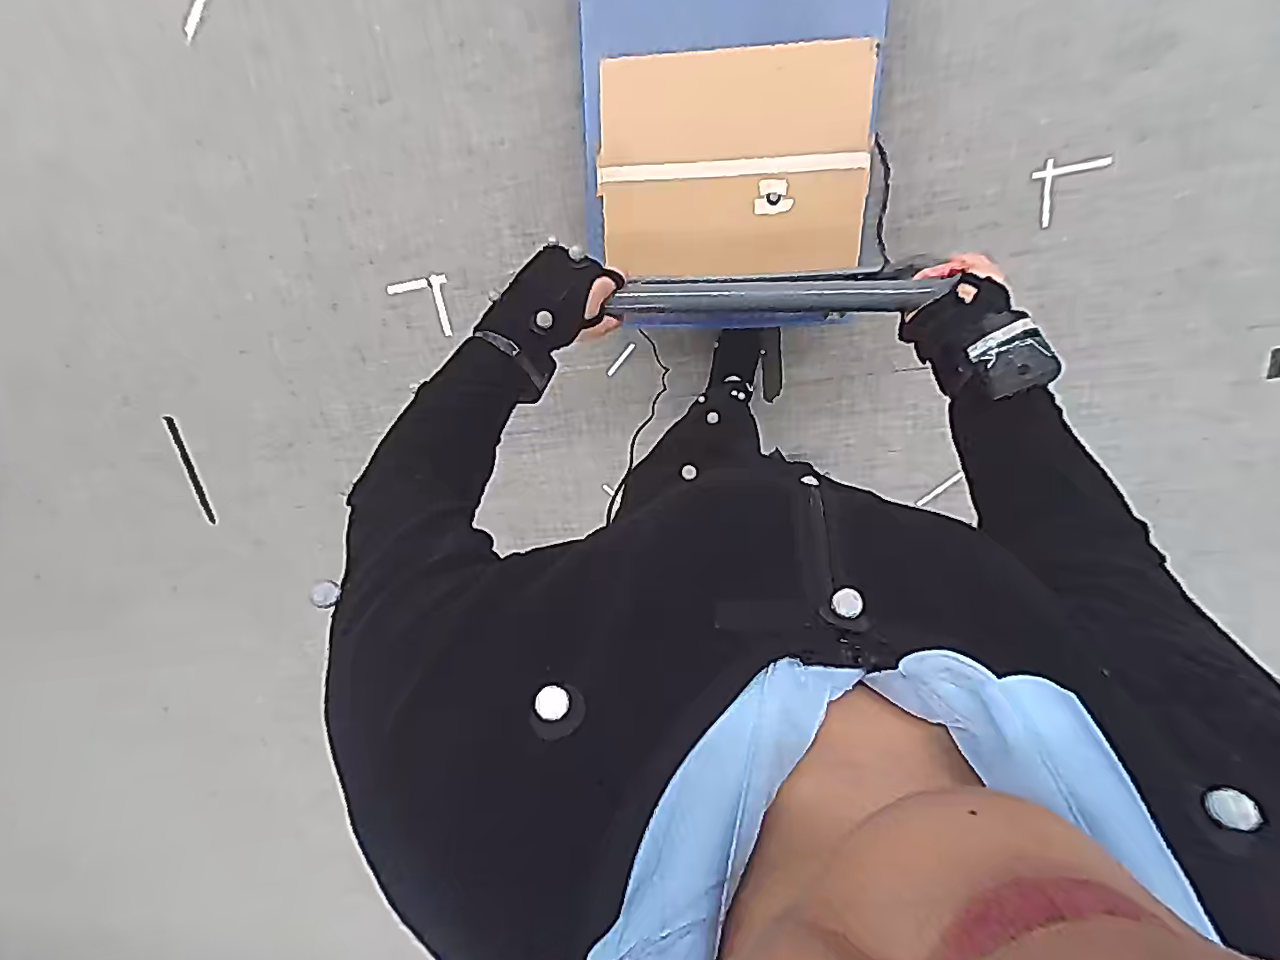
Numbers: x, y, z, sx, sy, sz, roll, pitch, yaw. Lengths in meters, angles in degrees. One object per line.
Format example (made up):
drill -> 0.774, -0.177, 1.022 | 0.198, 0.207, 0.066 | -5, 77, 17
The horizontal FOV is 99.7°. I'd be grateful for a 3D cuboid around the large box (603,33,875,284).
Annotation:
large box -> 0.162, -0.534, 0.979 | 0.408, 0.320, 0.320 | 1, 108, 8
